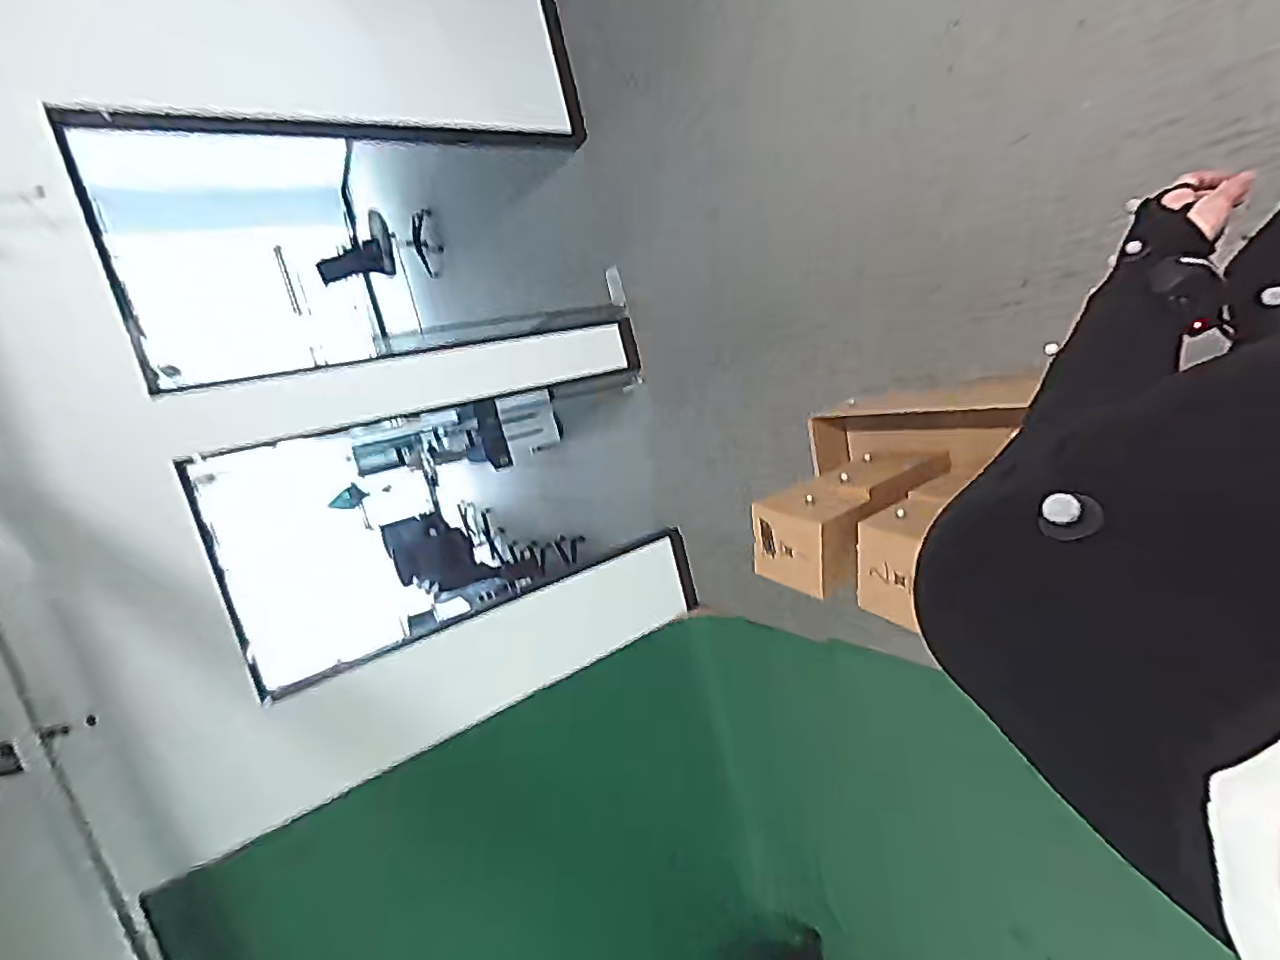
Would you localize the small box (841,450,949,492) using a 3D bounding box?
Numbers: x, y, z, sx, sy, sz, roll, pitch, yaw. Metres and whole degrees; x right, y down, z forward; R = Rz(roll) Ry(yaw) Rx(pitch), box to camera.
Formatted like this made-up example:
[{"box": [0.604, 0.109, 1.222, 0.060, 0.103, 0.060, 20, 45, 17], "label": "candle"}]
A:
[{"box": [0.622, 0.027, 1.310, 0.179, 0.176, 0.168, 2, 109, 56], "label": "small box"}]

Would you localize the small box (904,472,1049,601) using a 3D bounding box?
[{"box": [0.629, 0.094, 1.014, 0.179, 0.176, 0.168, 22, 123, 53], "label": "small box"}]

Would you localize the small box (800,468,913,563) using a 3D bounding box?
[{"box": [0.494, 0.072, 1.222, 0.179, 0.176, 0.168, 1, 106, 55], "label": "small box"}]

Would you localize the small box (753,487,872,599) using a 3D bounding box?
[{"box": [0.361, 0.121, 1.138, 0.179, 0.176, 0.168, 16, 119, 51], "label": "small box"}]
